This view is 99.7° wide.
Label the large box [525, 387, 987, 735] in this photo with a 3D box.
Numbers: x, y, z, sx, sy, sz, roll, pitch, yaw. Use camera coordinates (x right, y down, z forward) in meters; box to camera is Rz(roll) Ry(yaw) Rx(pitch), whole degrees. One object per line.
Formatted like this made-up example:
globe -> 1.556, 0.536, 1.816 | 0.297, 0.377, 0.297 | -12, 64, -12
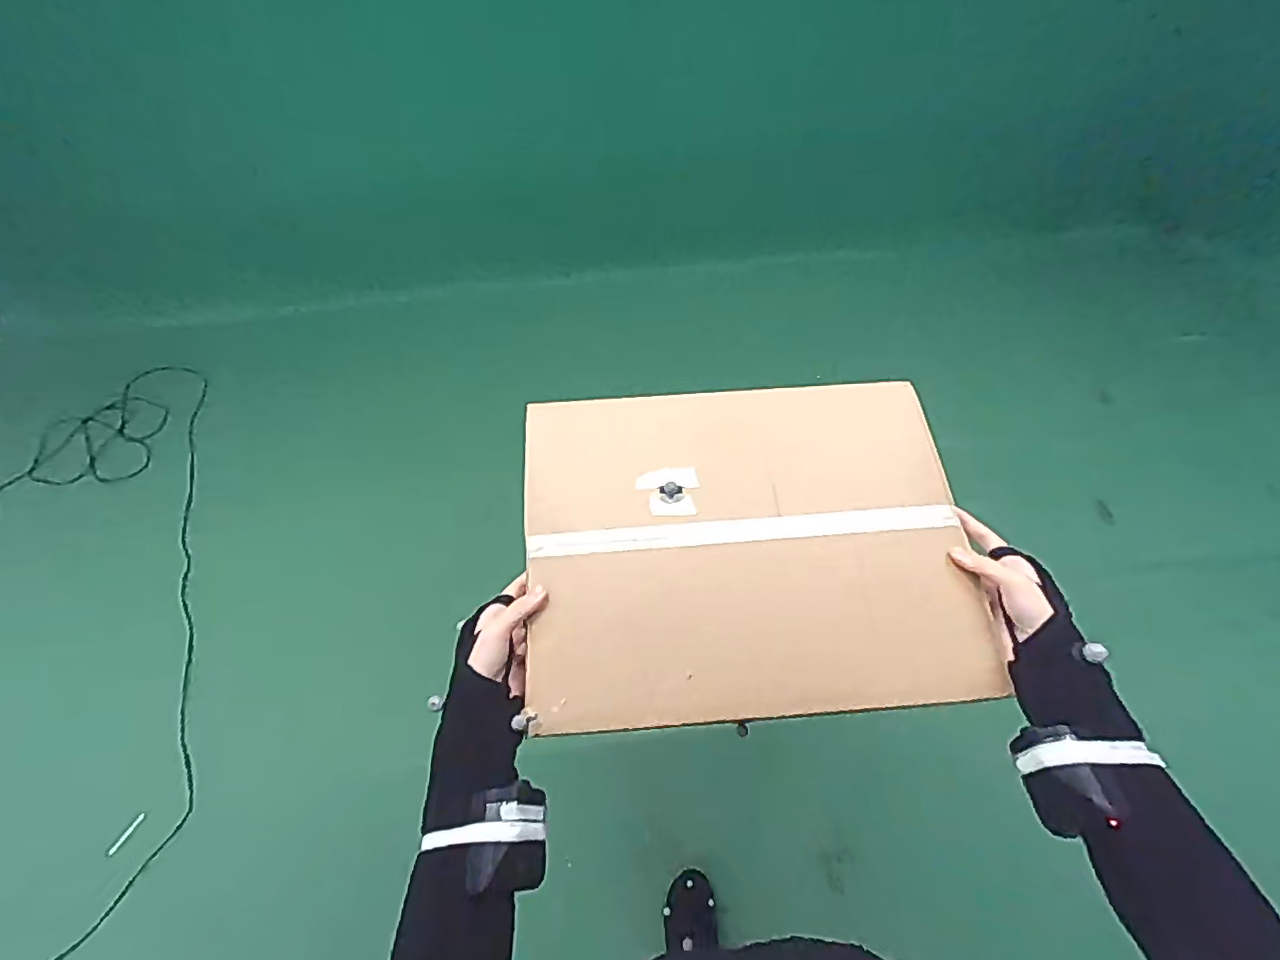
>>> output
large box -> 0.093, 0.115, 0.653 | 0.408, 0.320, 0.320 | -5, 66, -1
